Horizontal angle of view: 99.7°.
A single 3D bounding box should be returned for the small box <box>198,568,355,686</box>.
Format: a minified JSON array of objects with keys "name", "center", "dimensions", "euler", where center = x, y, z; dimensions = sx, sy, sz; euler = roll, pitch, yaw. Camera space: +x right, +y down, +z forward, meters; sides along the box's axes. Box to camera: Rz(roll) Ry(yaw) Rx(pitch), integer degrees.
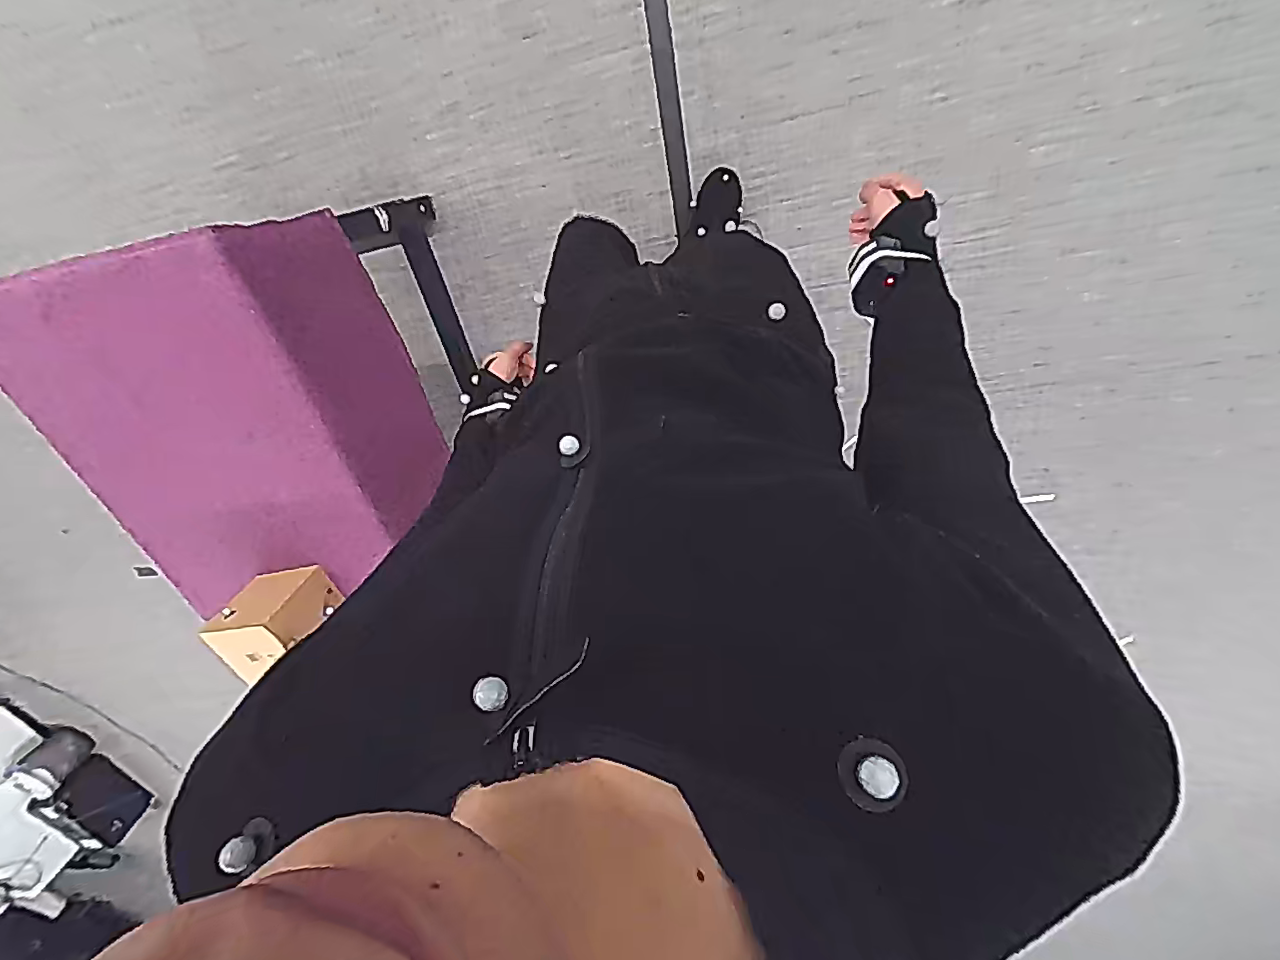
[{"name":"small box","center":[-0.750,0.307,1.138],"dimensions":[0.179,0.176,0.168],"euler":[-11,121,14]}]
